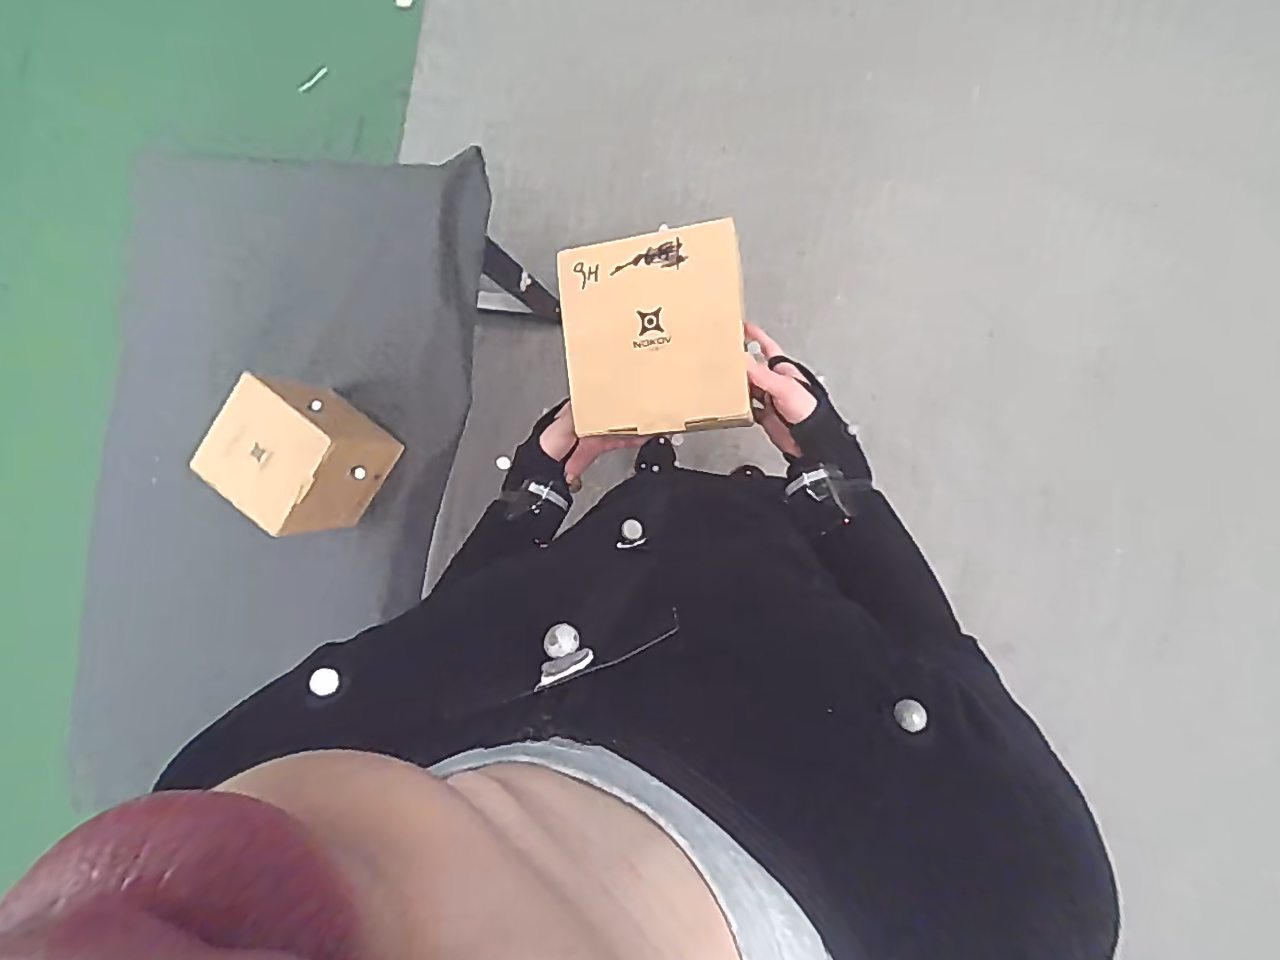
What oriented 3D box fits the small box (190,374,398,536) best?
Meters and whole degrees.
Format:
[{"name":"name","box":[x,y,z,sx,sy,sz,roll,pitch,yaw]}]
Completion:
[{"name":"small box","box":[-0.519,-0.037,0.835,0.179,0.176,0.168,36,96,8]}]

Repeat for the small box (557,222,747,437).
[{"name":"small box","box":[0.025,-0.139,0.565,0.168,0.176,0.179,-4,94,10]}]
